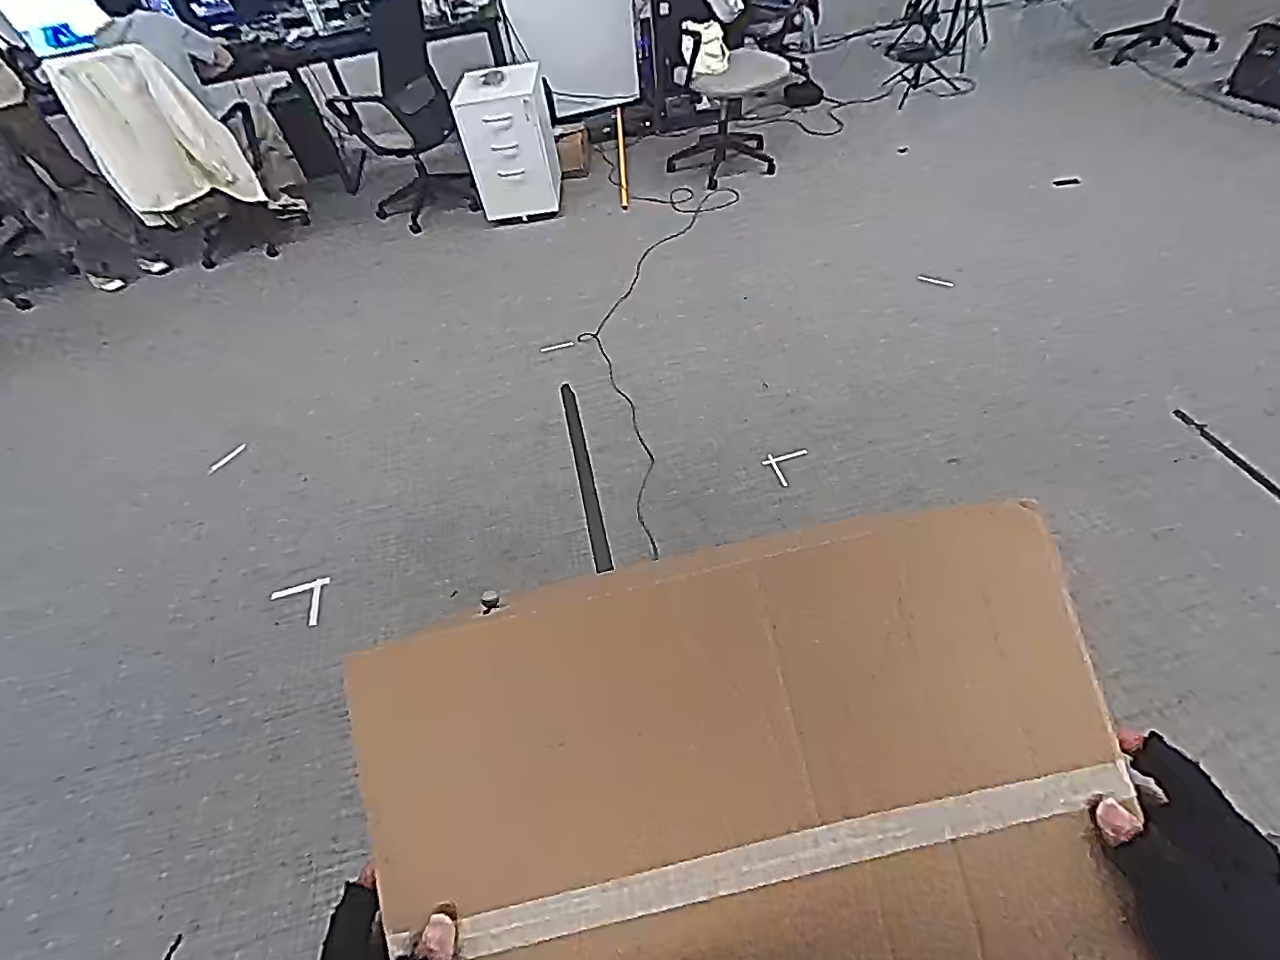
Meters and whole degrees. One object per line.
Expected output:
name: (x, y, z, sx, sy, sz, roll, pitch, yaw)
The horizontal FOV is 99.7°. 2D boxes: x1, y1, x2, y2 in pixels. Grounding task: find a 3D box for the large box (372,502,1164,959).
large box: (0.069, 0.226, 0.451, 0.408, 0.320, 0.320, -14, 84, 0)
